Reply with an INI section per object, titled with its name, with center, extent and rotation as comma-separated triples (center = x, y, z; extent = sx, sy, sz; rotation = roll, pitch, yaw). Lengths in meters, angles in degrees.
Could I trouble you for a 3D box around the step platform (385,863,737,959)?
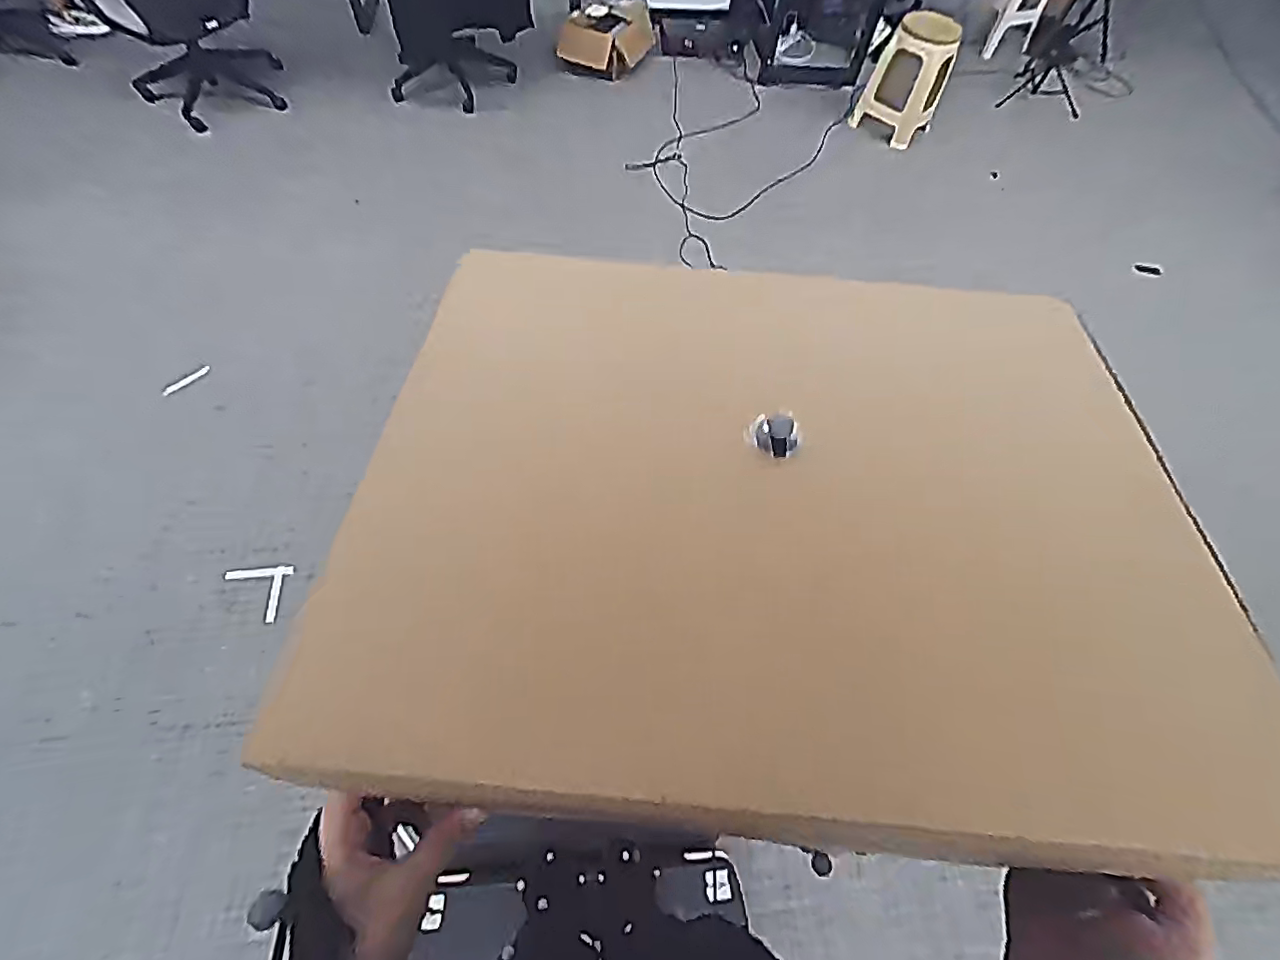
[step platform]
center = -0.148, 0.954, 1.083
extent = 0.684, 0.204, 0.286
rotation = 2, 60, -2
